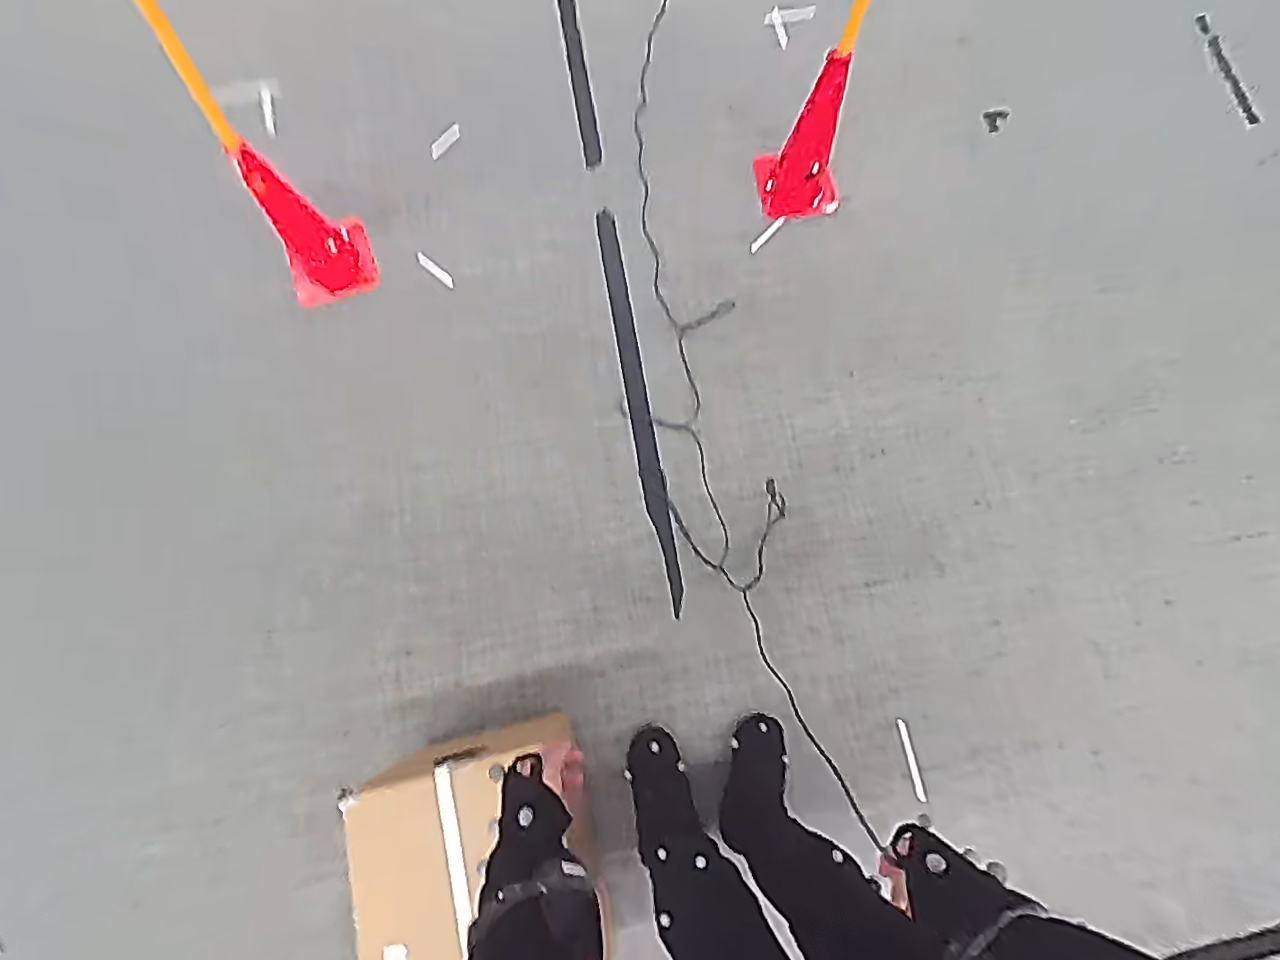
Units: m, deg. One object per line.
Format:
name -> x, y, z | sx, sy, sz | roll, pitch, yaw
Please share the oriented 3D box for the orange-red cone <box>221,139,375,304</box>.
orange-red cone -> -0.774, -0.584, 1.188 | 0.199, 0.360, 0.198 | -19, 76, -4
